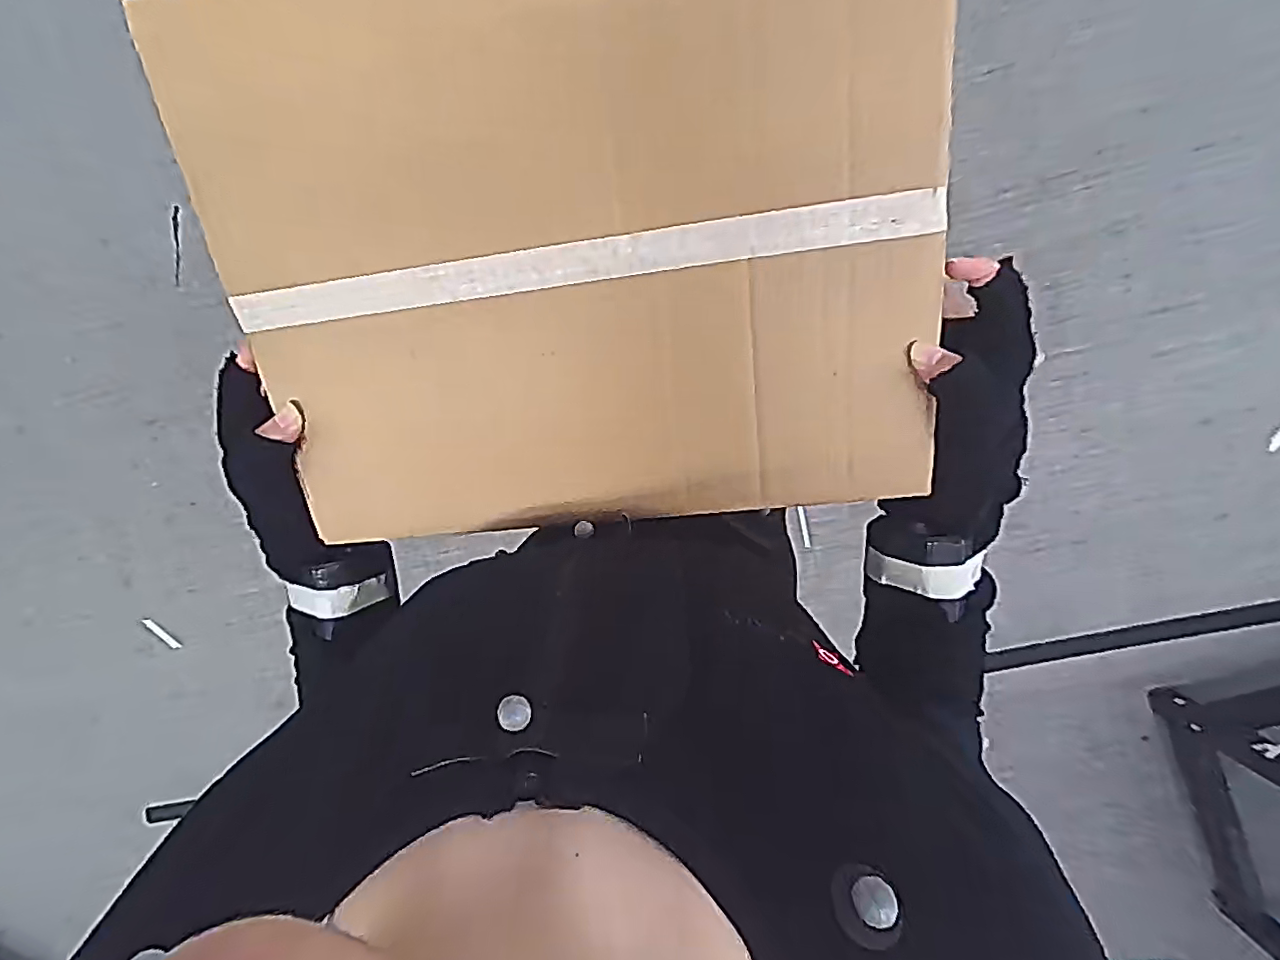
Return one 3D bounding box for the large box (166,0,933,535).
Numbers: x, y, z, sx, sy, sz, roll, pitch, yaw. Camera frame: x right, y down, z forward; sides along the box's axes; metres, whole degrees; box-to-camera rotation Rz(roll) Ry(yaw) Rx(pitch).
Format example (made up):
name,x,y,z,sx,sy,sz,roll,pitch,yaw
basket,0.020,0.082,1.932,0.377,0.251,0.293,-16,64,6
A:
name,x,y,z,sx,sy,sz,roll,pitch,yaw
large box,-0.031,-0.173,0.452,0.408,0.320,0.320,-5,110,7
